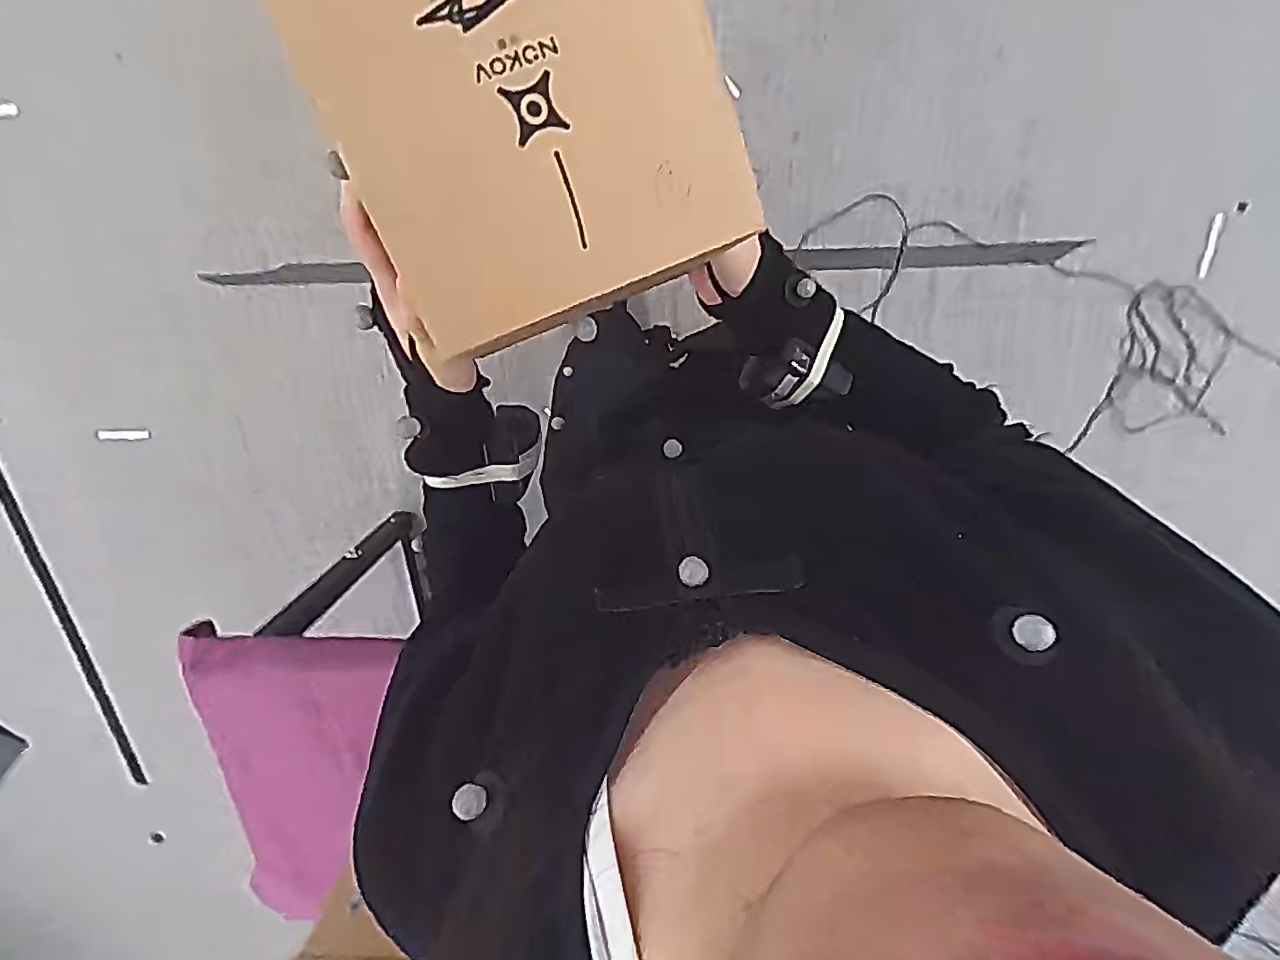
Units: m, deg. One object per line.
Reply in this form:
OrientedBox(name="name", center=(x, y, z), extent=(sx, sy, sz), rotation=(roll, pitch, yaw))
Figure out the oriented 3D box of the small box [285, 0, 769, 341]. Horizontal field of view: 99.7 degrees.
OrientedBox(name="small box", center=(-0.057, -0.187, 0.298), extent=(0.168, 0.176, 0.179), rotation=(-23, 106, -4))
